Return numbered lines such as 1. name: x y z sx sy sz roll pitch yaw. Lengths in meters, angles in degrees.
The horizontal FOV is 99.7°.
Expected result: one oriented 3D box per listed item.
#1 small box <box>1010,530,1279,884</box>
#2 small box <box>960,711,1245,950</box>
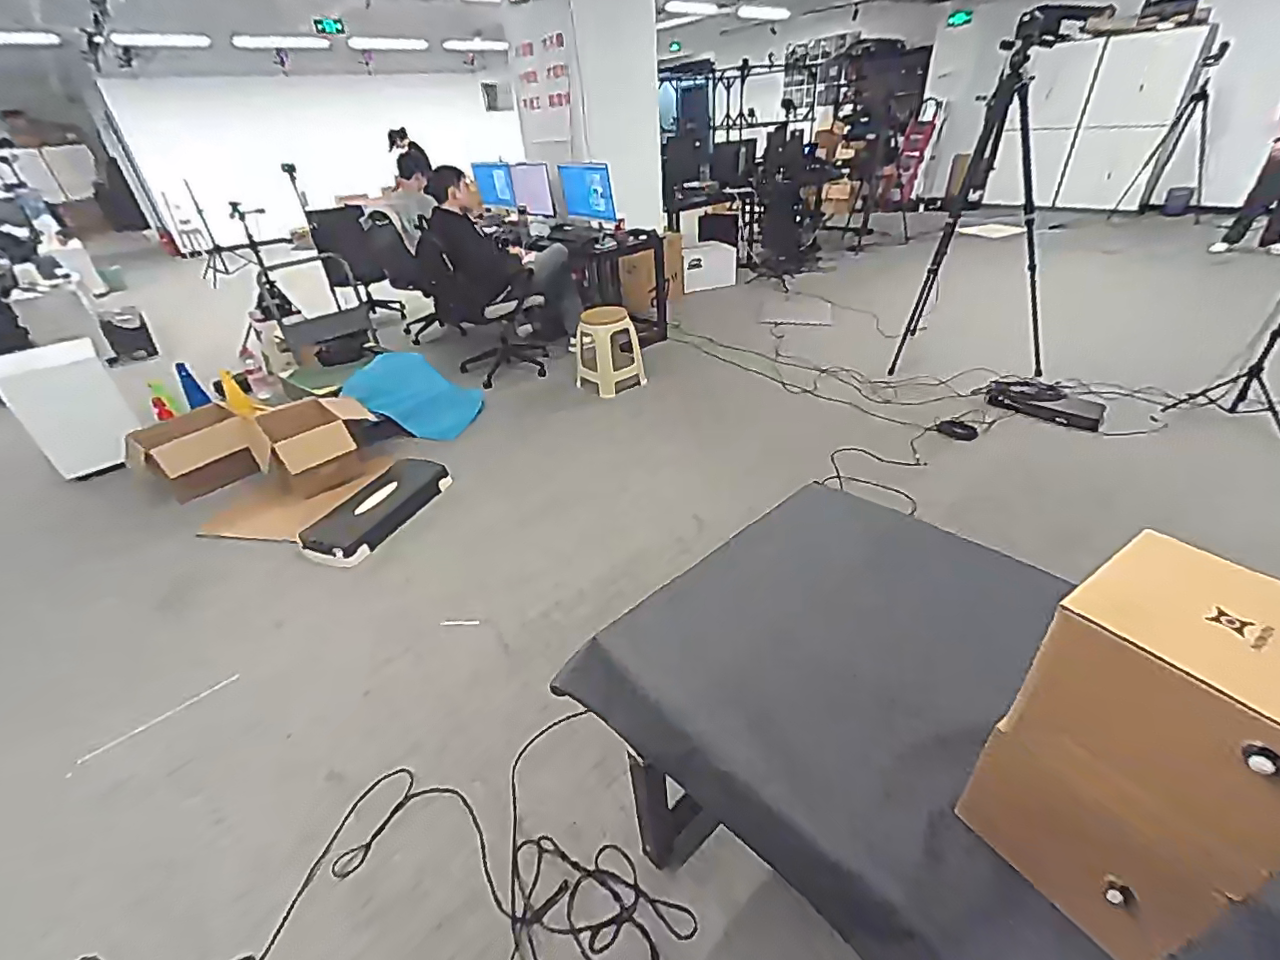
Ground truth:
1. small box: 0.456 0.176 0.451 0.168 0.176 0.179 -22 37 -26
2. small box: 0.463 0.313 0.537 0.168 0.176 0.179 -22 36 -26
